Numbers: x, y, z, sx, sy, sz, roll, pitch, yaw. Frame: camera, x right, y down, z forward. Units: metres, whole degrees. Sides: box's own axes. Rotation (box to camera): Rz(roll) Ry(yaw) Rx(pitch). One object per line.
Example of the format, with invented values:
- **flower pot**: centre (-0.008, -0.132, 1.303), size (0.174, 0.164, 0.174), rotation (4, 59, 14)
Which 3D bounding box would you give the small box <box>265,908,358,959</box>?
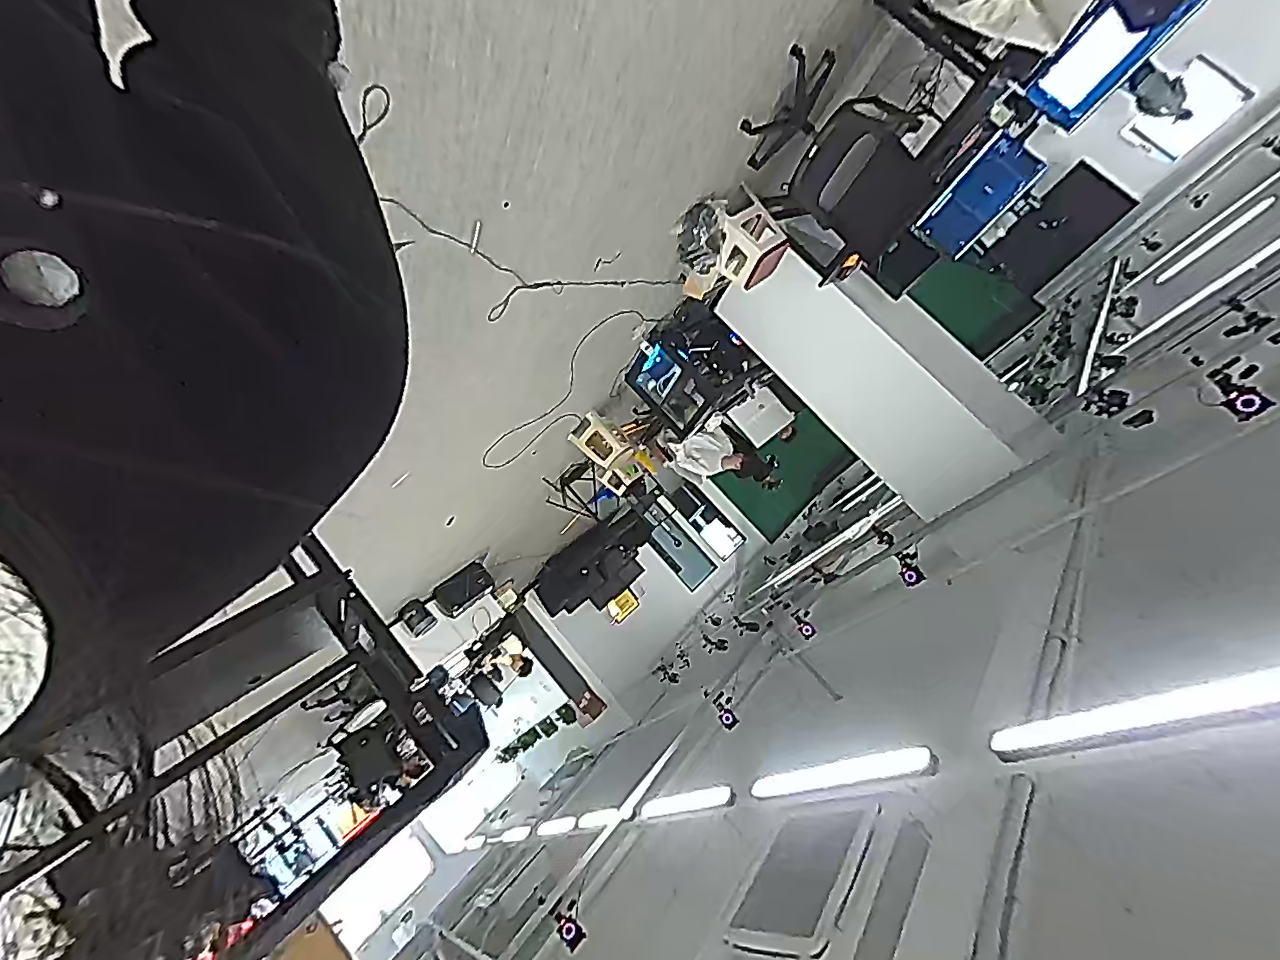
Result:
- **small box**: centre (-0.850, 1.242, 1.384), size (0.168, 0.176, 0.179), rotation (-34, 170, -41)
